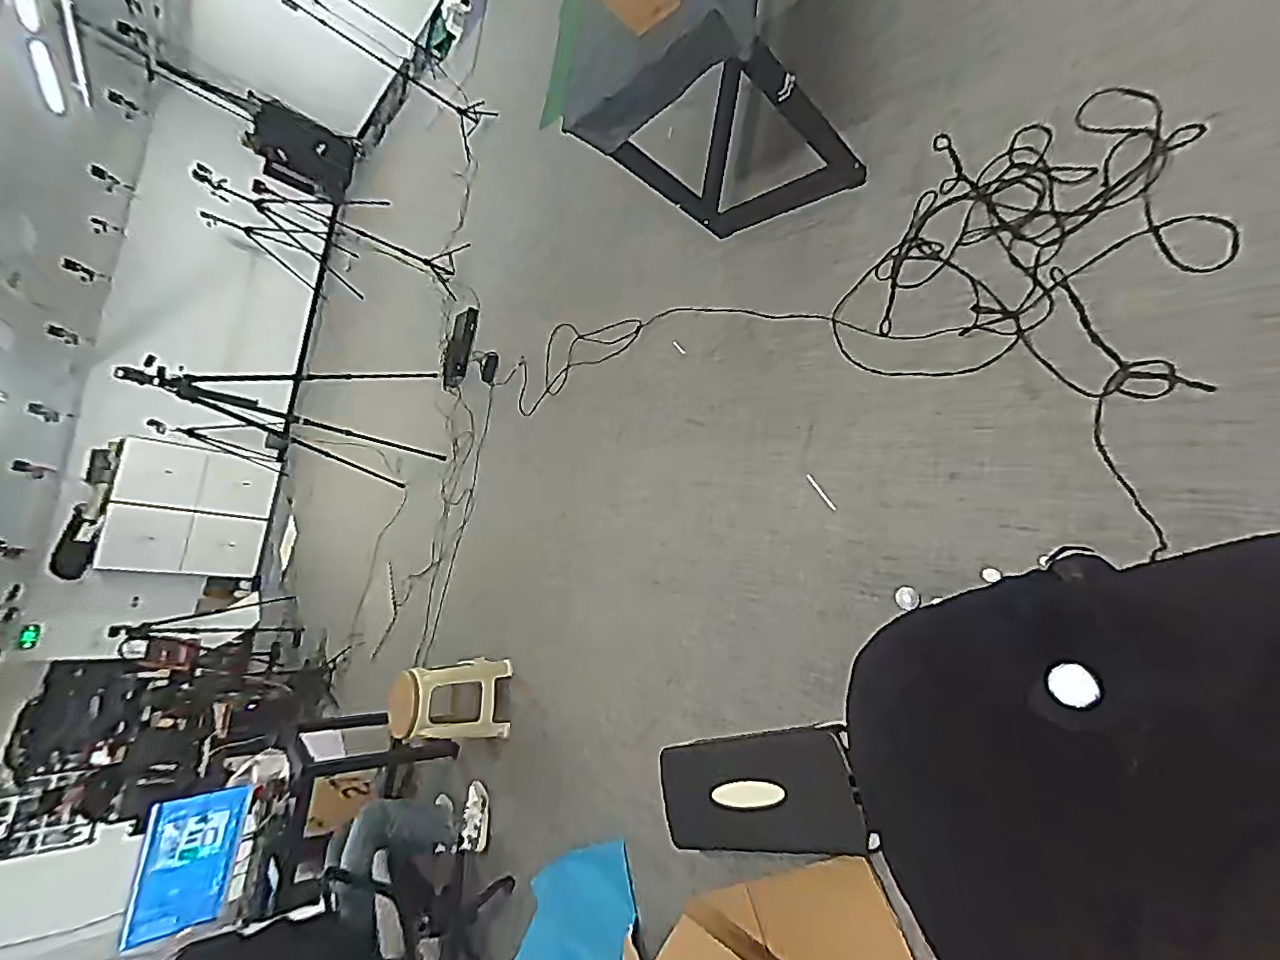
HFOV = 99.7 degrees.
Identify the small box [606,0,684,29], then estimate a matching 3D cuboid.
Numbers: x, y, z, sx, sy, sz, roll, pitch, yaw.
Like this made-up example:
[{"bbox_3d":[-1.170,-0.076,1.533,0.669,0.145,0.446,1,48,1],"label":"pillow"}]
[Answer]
[{"bbox_3d":[0.017,-1.215,1.267,0.168,0.176,0.179,14,89,48],"label":"small box"}]
